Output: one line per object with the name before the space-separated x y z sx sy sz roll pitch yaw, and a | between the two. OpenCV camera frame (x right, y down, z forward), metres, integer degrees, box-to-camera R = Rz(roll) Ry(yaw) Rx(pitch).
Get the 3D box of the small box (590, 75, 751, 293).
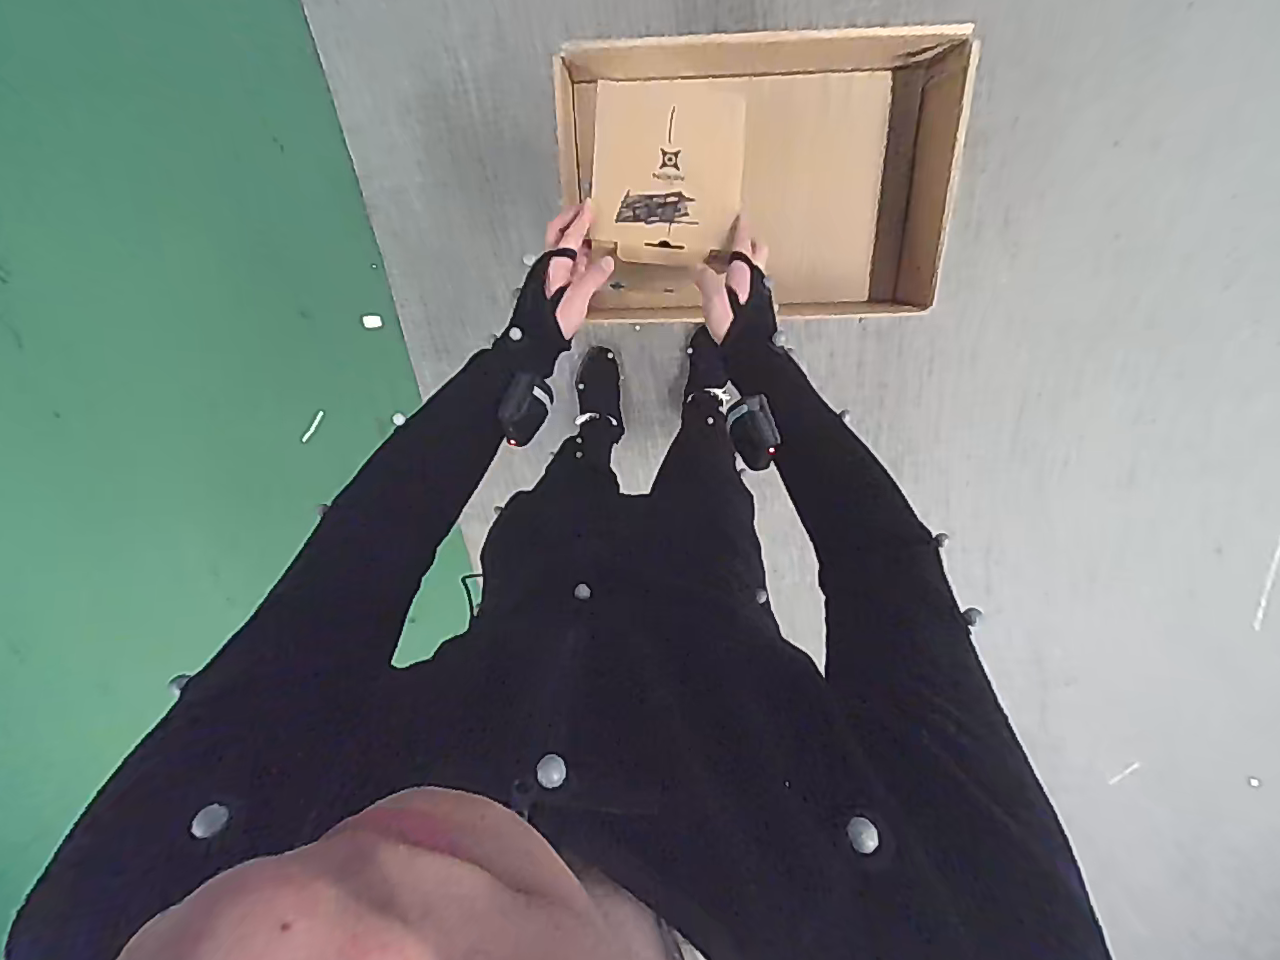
small box | 0.029 -0.338 0.654 0.168 0.176 0.179 2 91 -4
